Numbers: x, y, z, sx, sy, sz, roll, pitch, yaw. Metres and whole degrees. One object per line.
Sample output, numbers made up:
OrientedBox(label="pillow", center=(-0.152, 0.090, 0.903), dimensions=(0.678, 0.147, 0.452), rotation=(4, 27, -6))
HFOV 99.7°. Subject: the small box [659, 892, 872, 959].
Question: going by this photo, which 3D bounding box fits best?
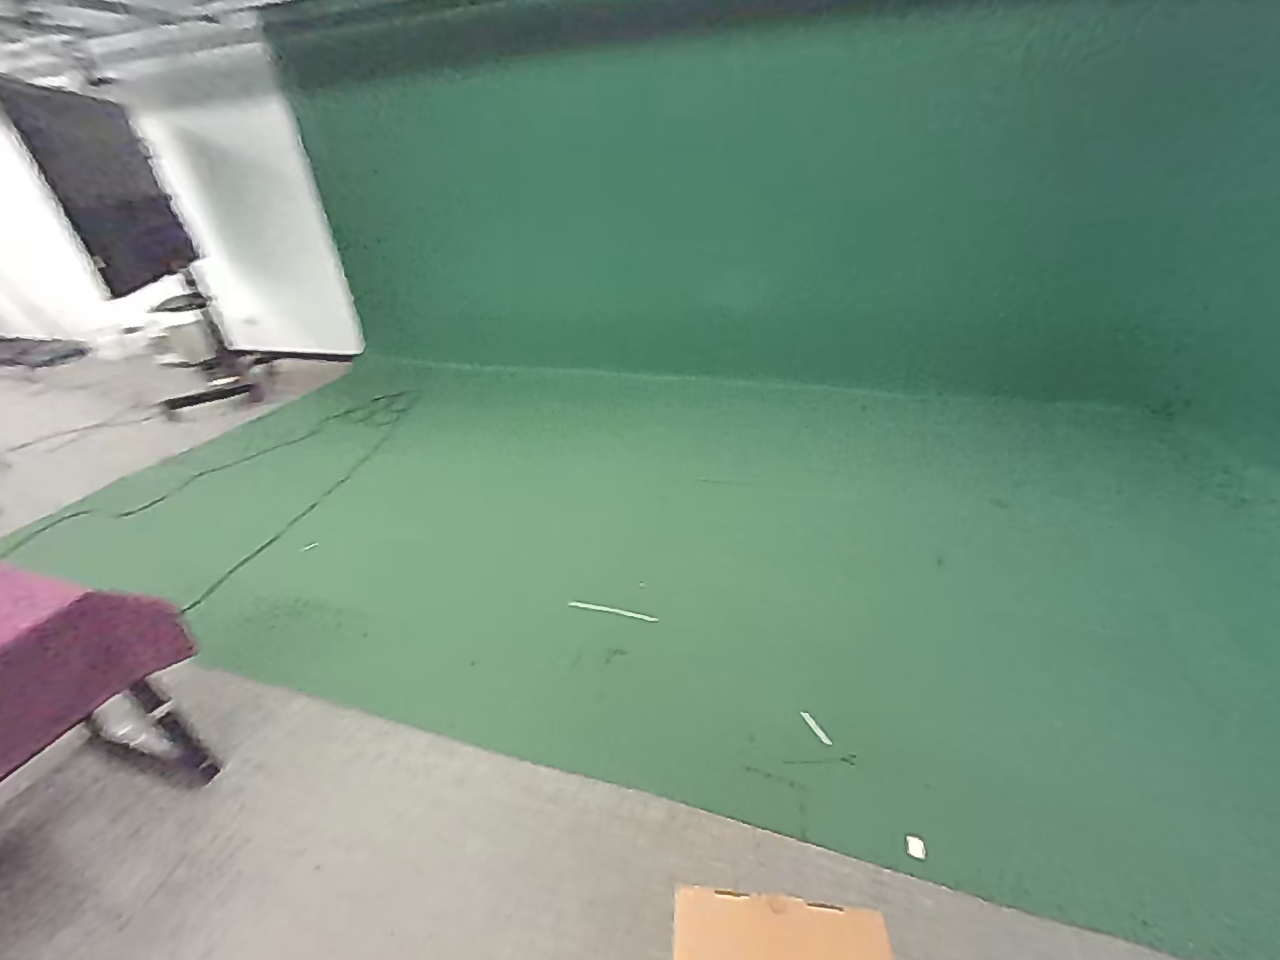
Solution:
OrientedBox(label="small box", center=(0.096, 0.466, 0.438), dimensions=(0.168, 0.176, 0.179), rotation=(2, 44, 6))
